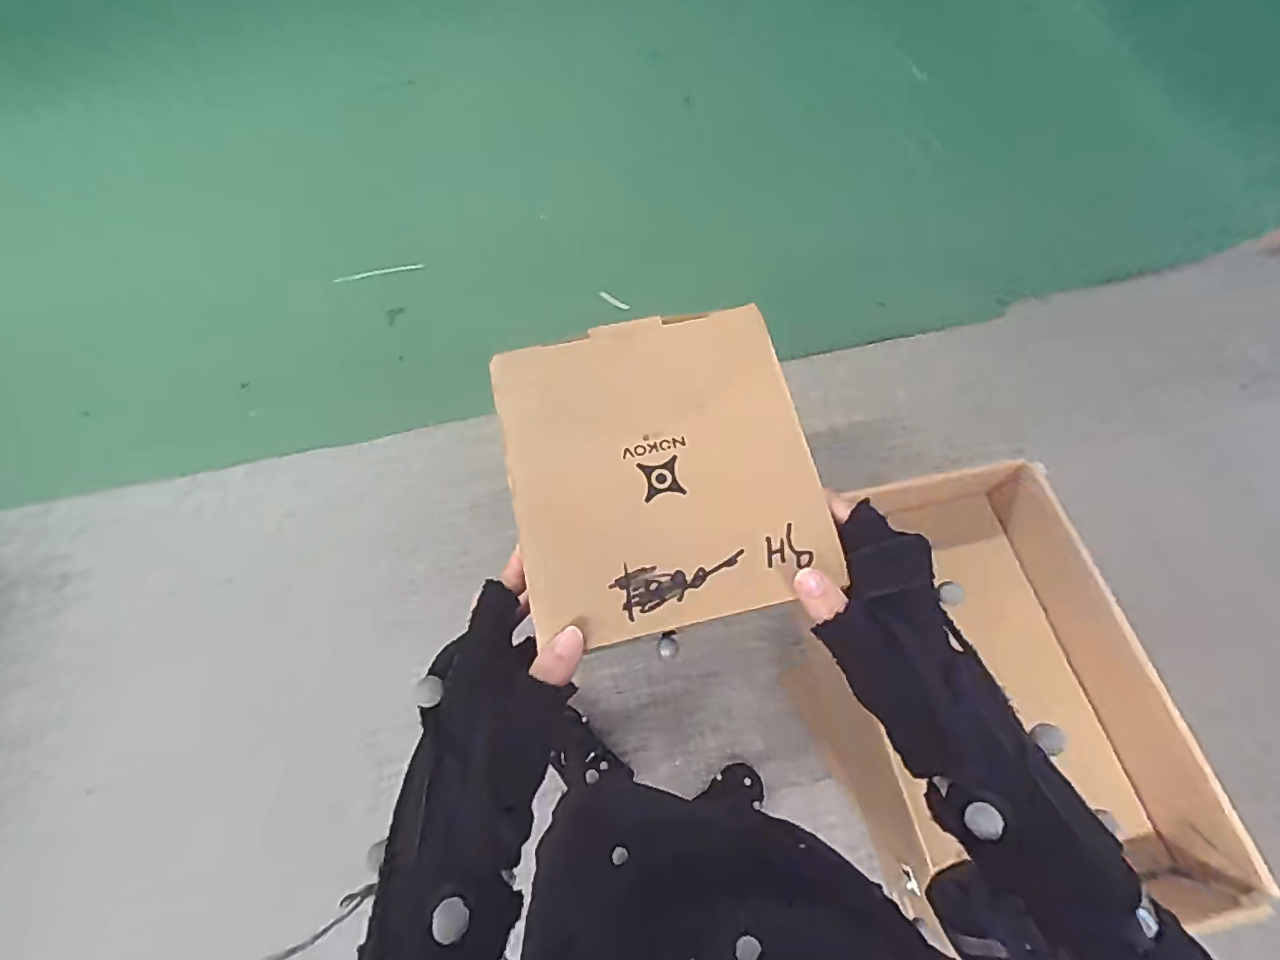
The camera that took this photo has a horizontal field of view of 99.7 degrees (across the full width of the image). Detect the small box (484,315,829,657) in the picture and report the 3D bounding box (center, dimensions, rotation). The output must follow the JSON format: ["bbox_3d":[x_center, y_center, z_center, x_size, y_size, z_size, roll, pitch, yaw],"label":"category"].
[{"bbox_3d":[0.002,0.018,0.382,0.168,0.176,0.179,-14,72,-4],"label":"small box"}]
